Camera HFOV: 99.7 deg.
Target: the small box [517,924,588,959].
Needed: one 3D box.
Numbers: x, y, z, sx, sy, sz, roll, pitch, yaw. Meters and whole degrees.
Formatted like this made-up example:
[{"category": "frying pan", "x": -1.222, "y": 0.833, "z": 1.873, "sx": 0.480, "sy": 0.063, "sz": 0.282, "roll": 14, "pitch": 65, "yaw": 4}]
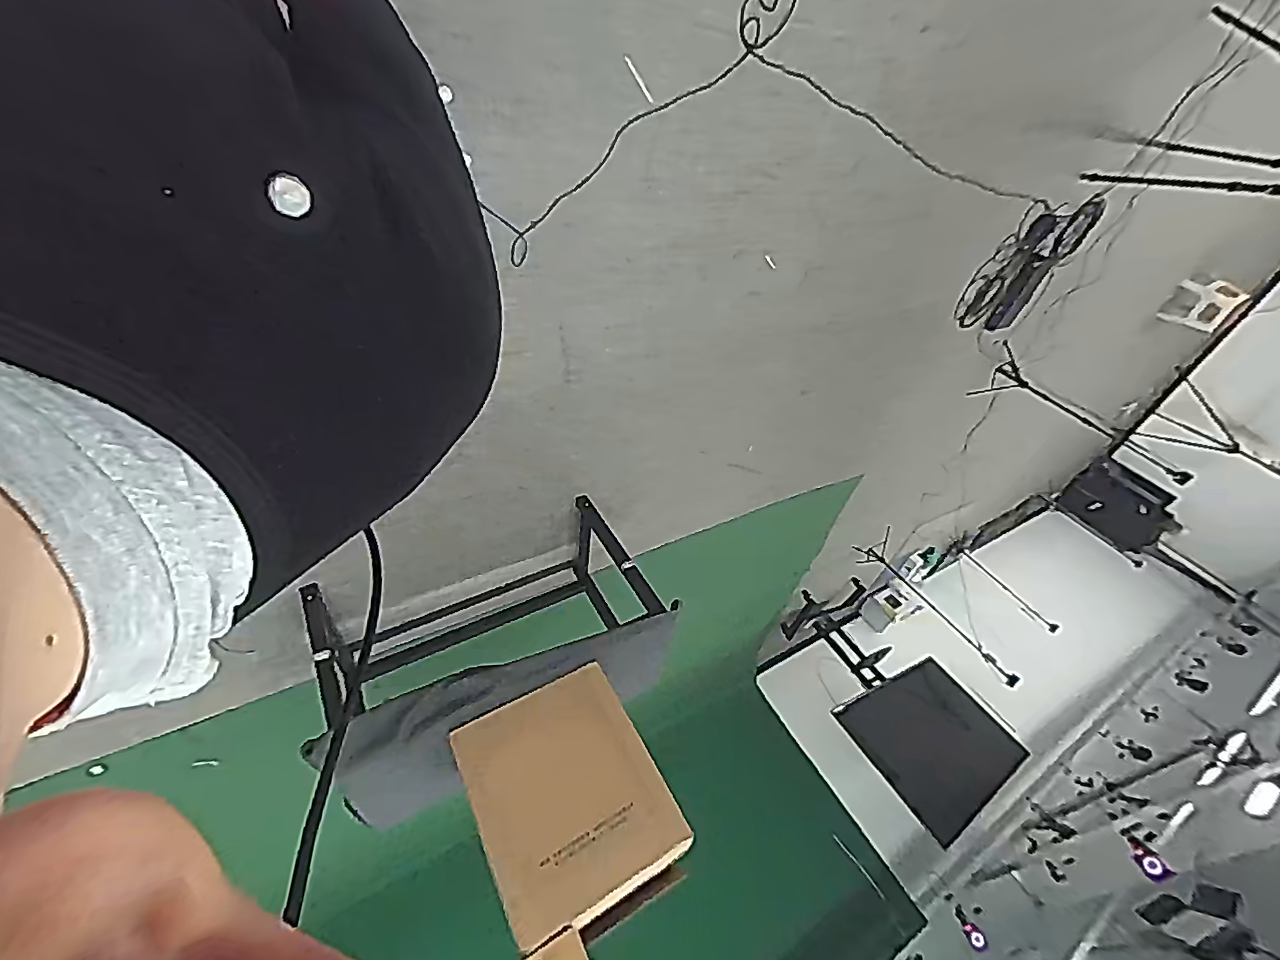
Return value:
[{"category": "small box", "x": -0.216, "y": 1.291, "z": 1.398, "sx": 0.168, "sy": 0.176, "sz": 0.179, "roll": -22, "pitch": 143, "yaw": -18}]
